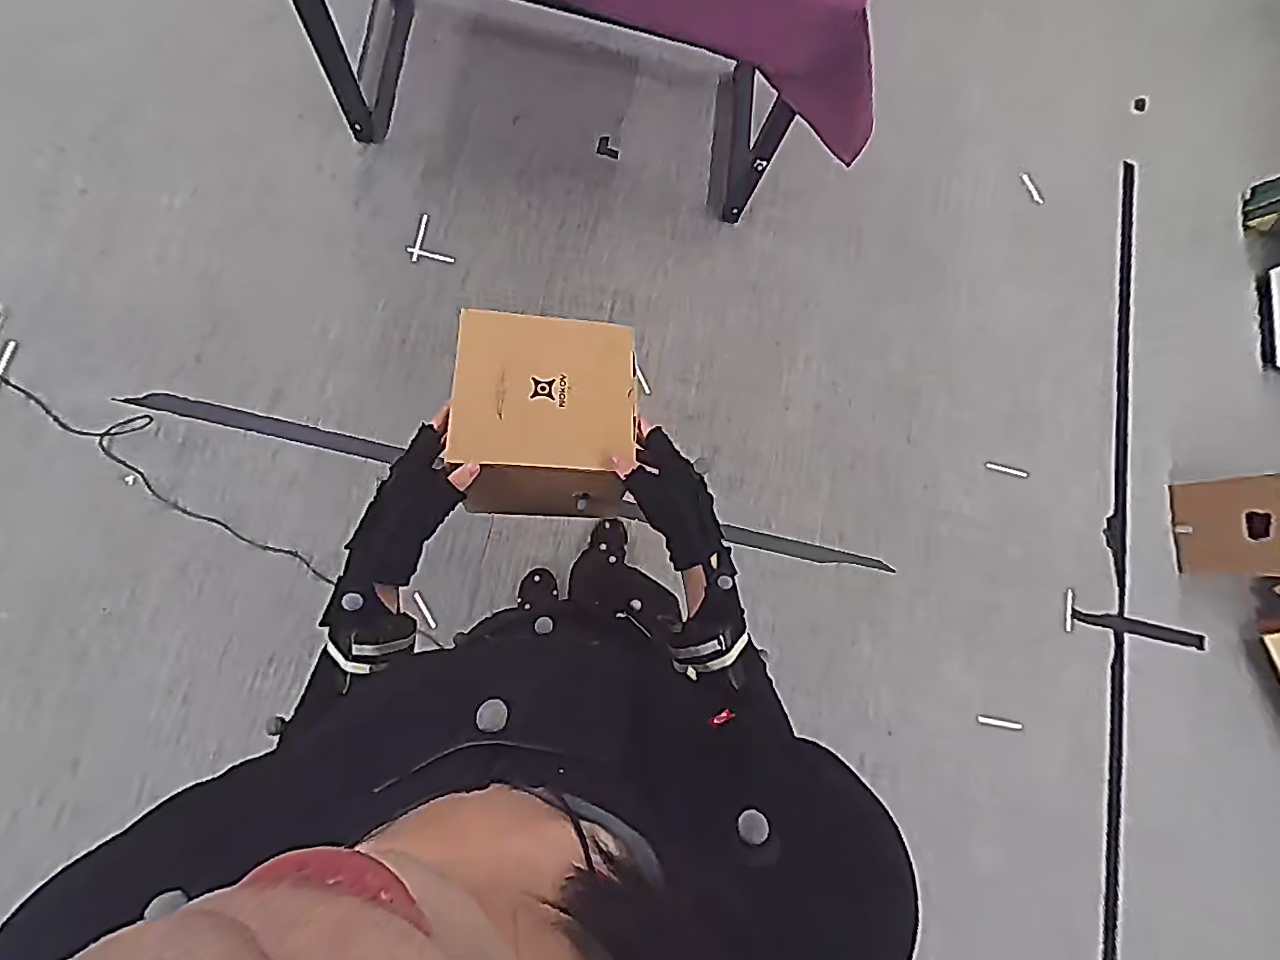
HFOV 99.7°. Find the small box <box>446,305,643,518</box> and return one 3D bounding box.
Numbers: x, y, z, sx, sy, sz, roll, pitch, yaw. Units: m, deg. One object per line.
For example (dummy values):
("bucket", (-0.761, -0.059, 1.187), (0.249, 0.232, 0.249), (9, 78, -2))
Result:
("small box", (-0.100, -0.061, 0.582), (0.179, 0.176, 0.168), (2, 69, -10))
